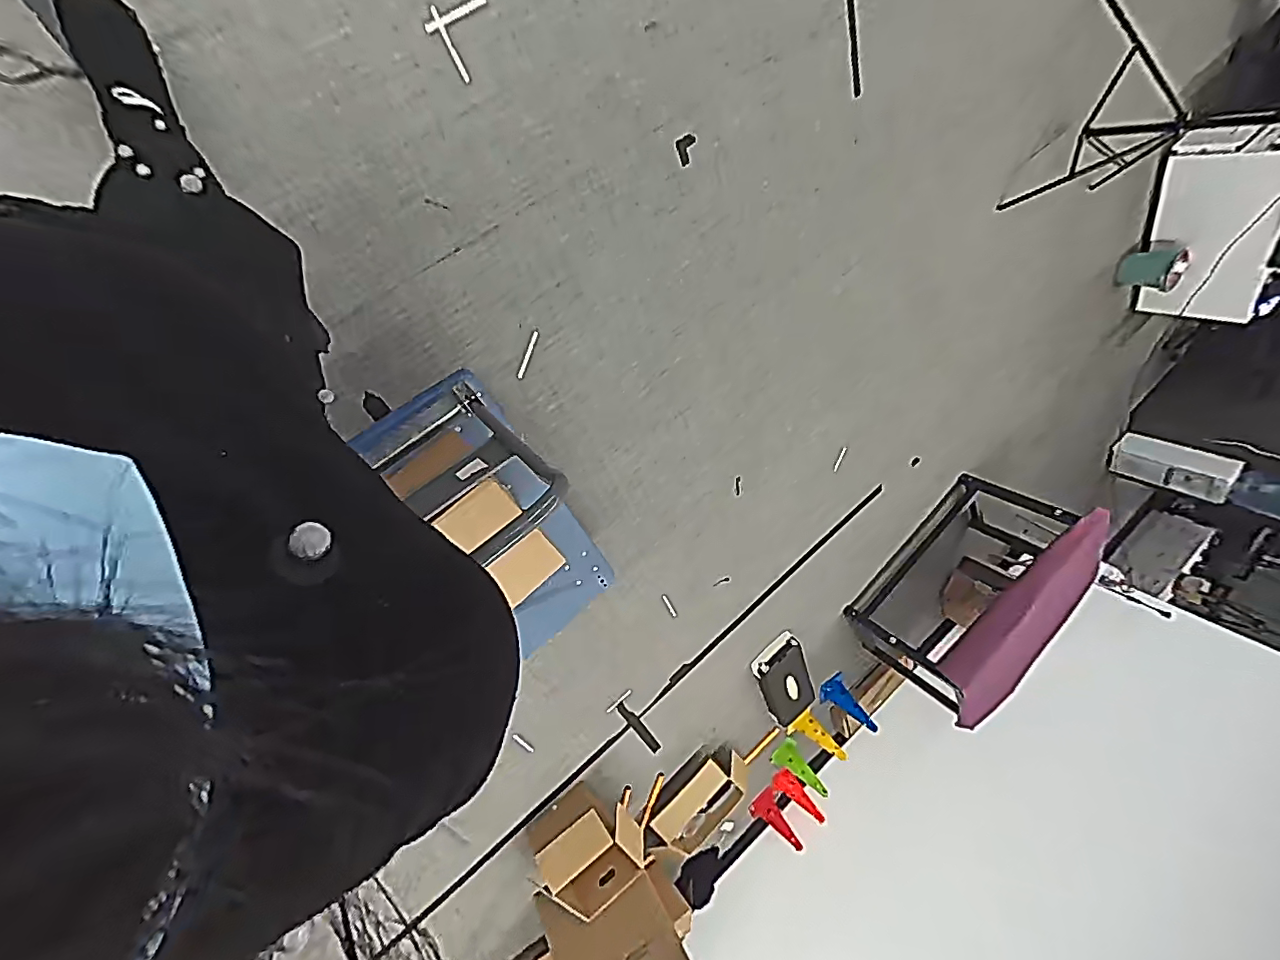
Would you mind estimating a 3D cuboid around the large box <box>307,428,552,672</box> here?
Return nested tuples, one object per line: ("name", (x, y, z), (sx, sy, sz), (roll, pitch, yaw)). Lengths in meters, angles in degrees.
("large box", (-0.491, 0.150, 1.271), (0.408, 0.320, 0.320), (-41, 129, -10))
